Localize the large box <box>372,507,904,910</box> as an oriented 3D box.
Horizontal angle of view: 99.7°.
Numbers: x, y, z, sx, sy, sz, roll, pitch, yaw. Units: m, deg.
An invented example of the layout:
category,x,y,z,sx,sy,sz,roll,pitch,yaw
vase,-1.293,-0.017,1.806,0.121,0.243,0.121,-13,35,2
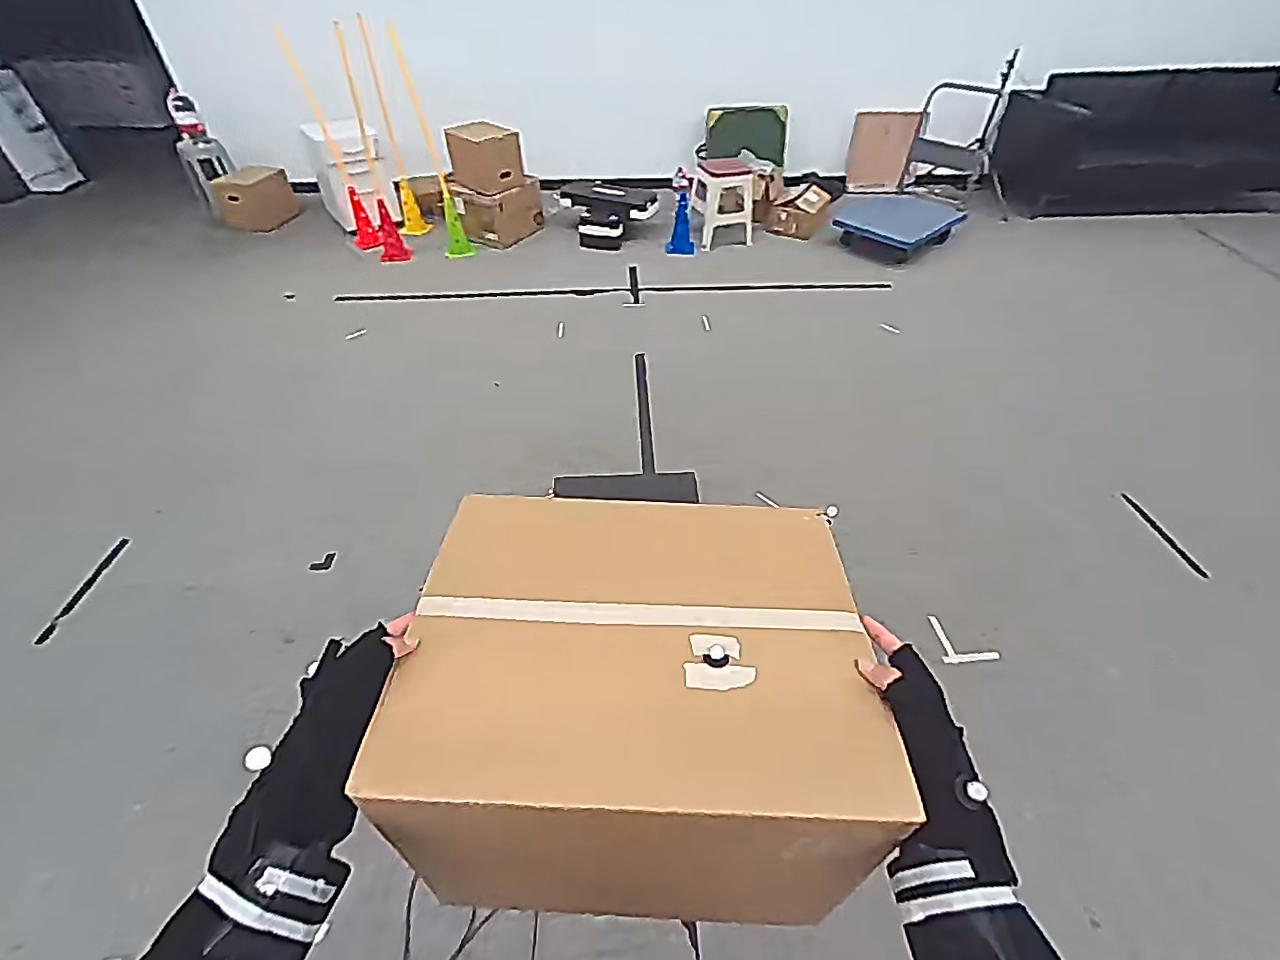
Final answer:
category,x,y,z,sx,sy,sz,roll,pitch,yaw
large box,-0.004,0.248,0.604,0.408,0.320,0.320,2,40,0
